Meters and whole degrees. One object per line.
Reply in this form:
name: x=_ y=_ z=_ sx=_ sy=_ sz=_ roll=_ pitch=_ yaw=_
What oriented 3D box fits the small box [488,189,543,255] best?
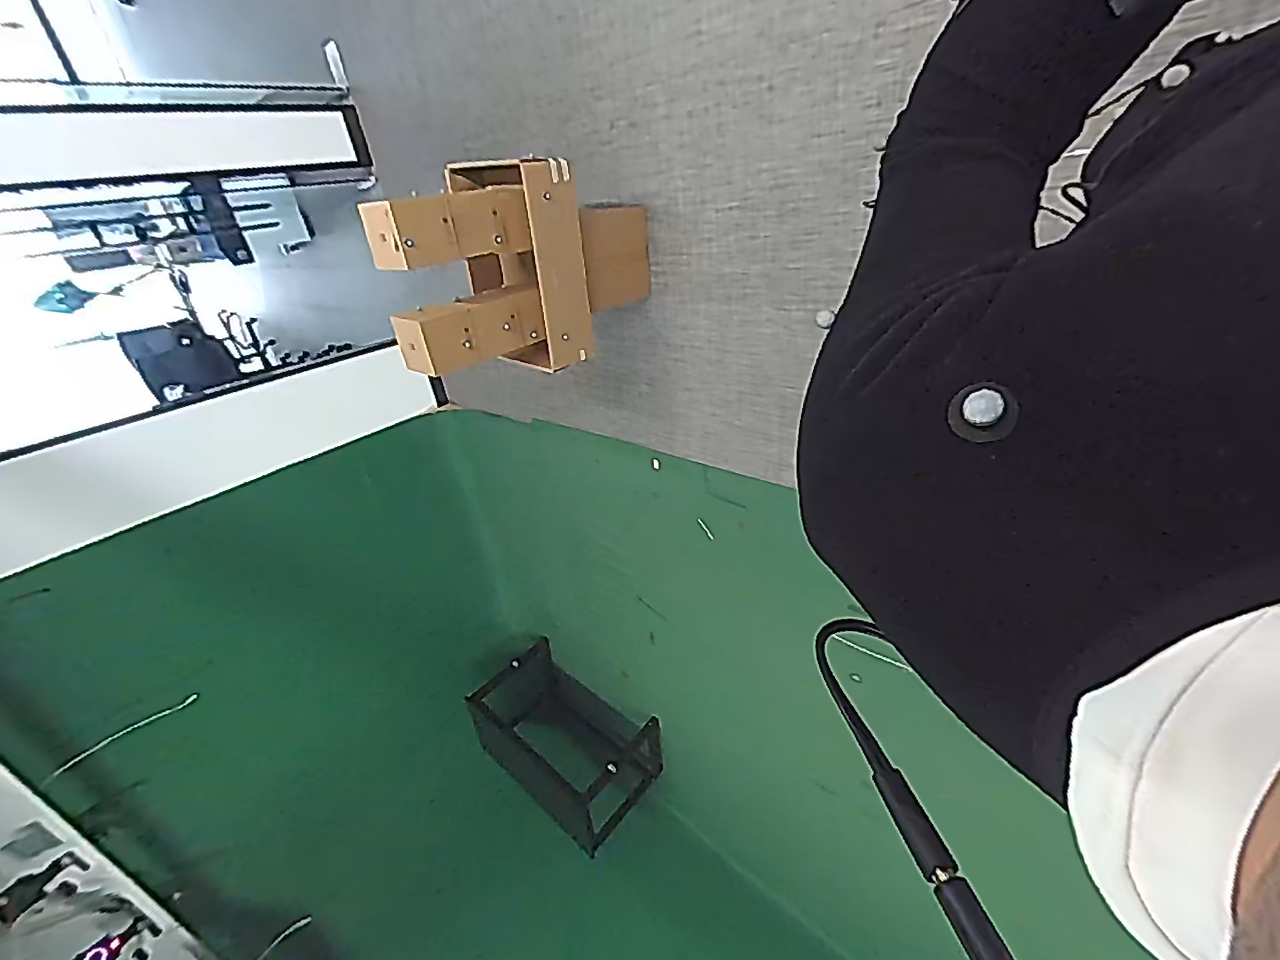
small box: x=-0.428 y=-0.811 z=1.690 sx=0.179 sy=0.176 sz=0.168 roll=23 pitch=129 yaw=34

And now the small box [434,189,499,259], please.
small box: x=-0.531 y=-0.747 z=1.578 sx=0.179 sy=0.176 sz=0.168 roll=19 pitch=127 yaw=37

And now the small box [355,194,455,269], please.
small box: x=-0.633 y=-0.677 z=1.471 sx=0.179 sy=0.176 sz=0.168 roll=19 pitch=127 yaw=37

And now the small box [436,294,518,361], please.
small box: x=-0.519 y=-0.494 z=1.730 sx=0.179 sy=0.176 sz=0.168 roll=19 pitch=128 yaw=37

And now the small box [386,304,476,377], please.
small box: x=-0.624 y=-0.426 z=1.625 sx=0.179 sy=0.176 sz=0.168 roll=20 pitch=129 yaw=37
